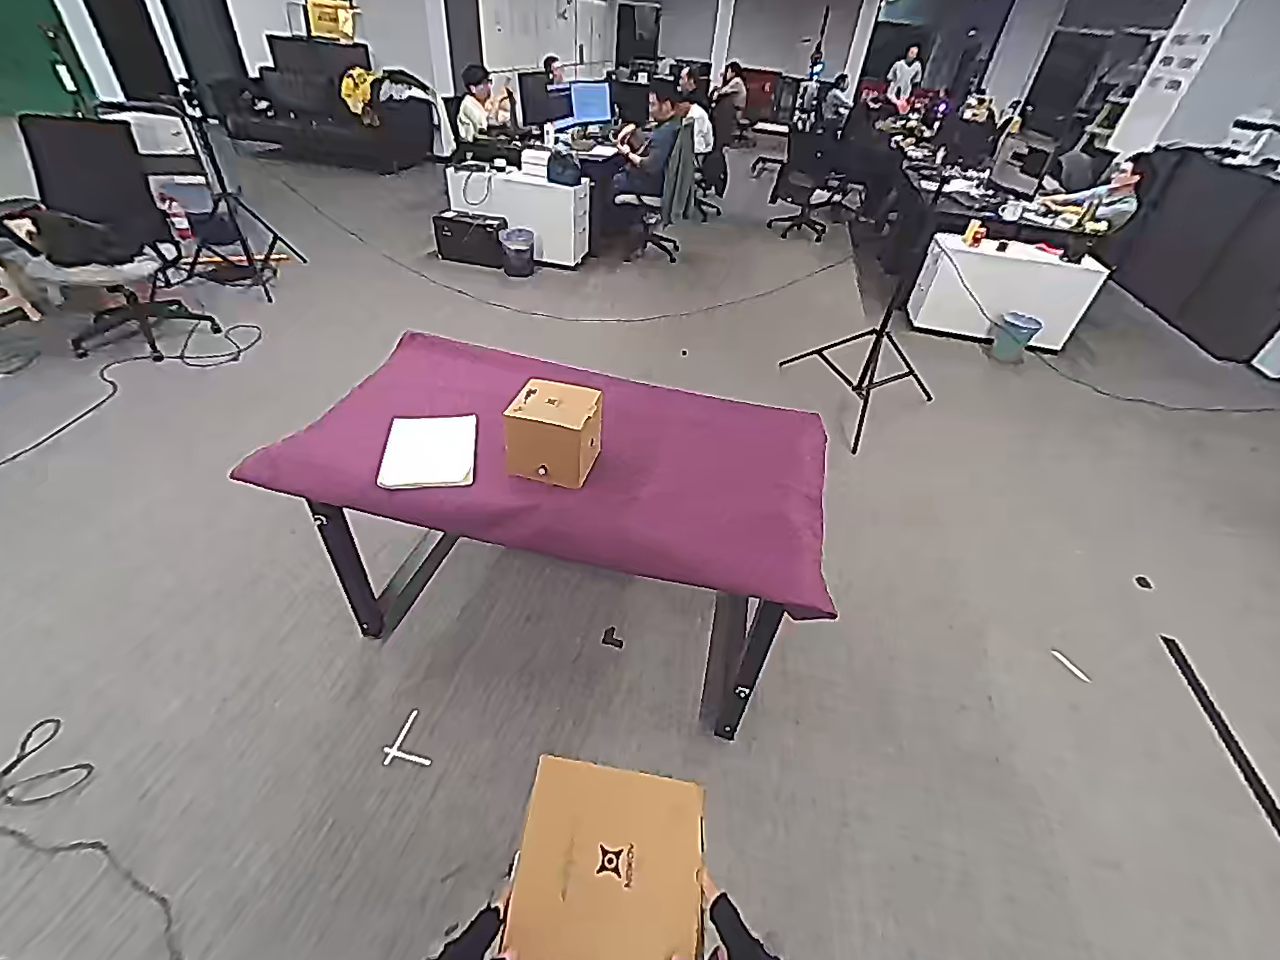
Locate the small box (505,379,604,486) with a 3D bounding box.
[{"bbox_3d":[-0.192,-0.107,1.246,0.179,0.176,0.168,13,39,7],"label":"small box"}]

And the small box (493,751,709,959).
[{"bbox_3d":[-0.040,0.405,0.543,0.179,0.176,0.168,12,37,-5],"label":"small box"}]
